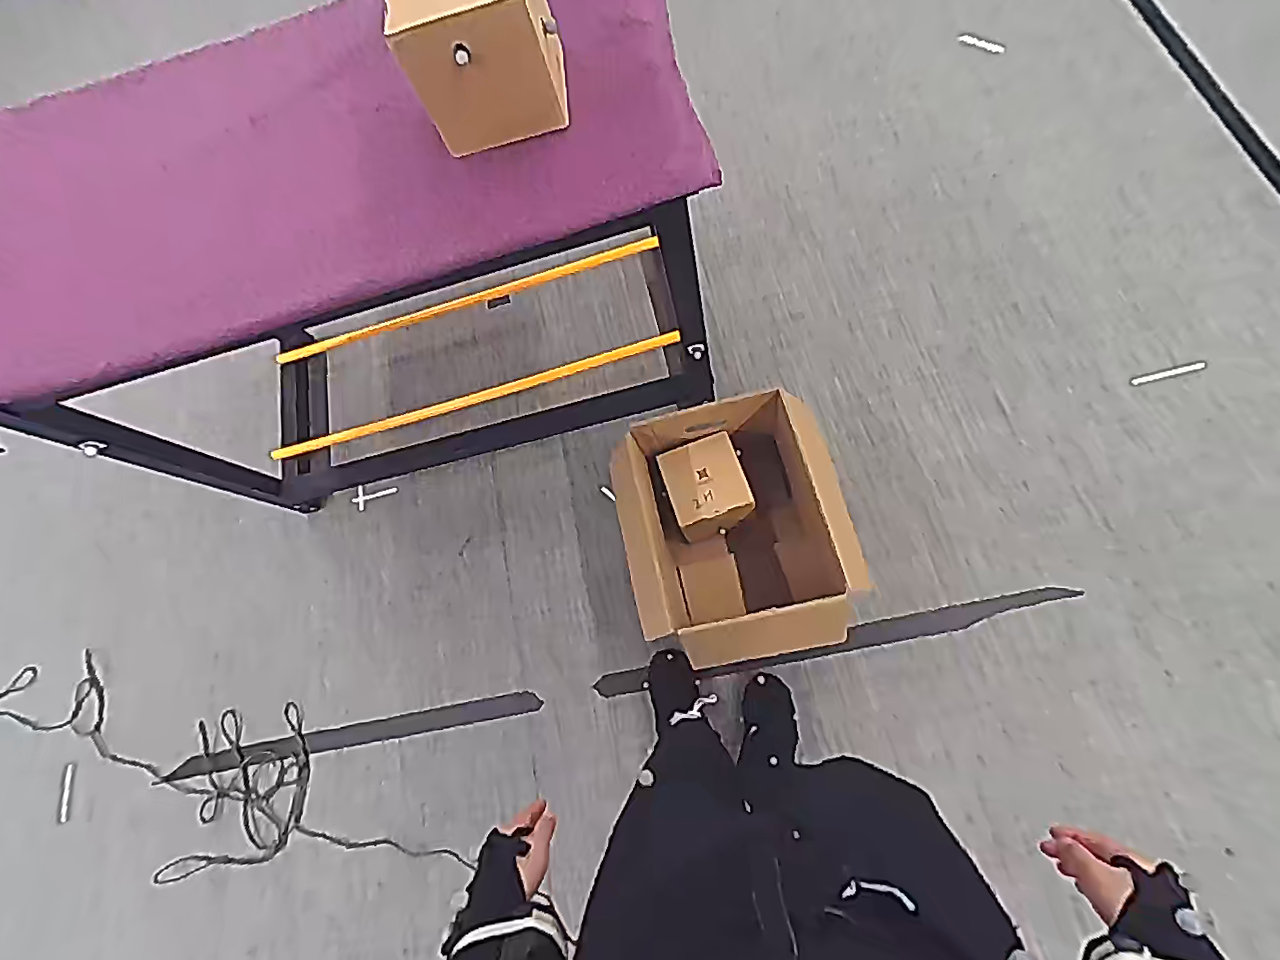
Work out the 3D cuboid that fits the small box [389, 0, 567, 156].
[{"bbox_3d":[-0.201,-0.576,0.717,0.179,0.176,0.168,-9,71,9],"label":"small box"}]
